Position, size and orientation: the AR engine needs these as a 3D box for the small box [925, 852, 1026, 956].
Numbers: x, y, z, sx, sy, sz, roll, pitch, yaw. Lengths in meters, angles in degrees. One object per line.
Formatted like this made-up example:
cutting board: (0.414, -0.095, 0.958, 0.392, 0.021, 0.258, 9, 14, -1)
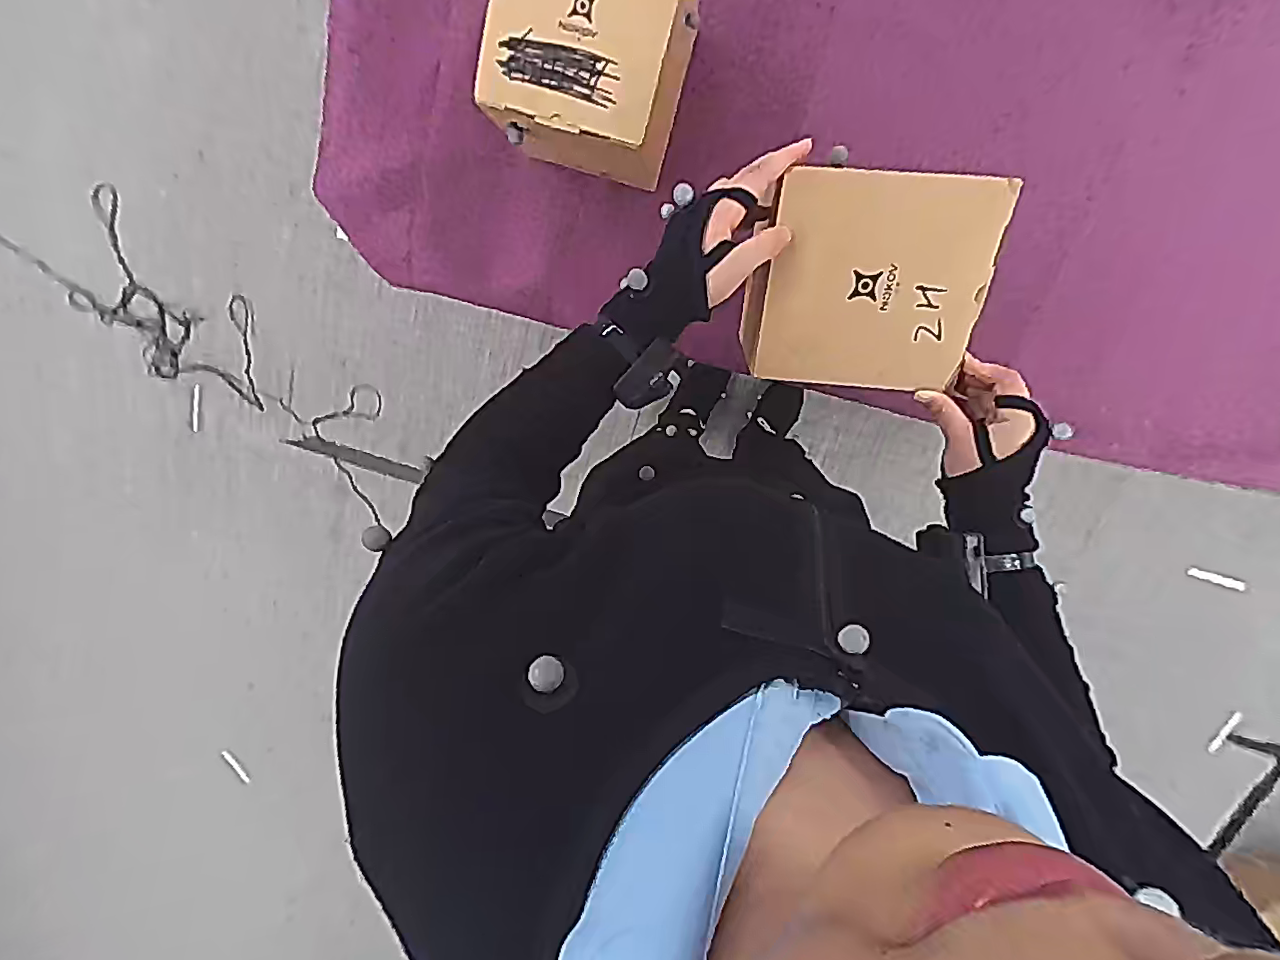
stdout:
small box: (1.043, 1.323, 1.699, 0.168, 0.176, 0.179, 41, 106, -6)
